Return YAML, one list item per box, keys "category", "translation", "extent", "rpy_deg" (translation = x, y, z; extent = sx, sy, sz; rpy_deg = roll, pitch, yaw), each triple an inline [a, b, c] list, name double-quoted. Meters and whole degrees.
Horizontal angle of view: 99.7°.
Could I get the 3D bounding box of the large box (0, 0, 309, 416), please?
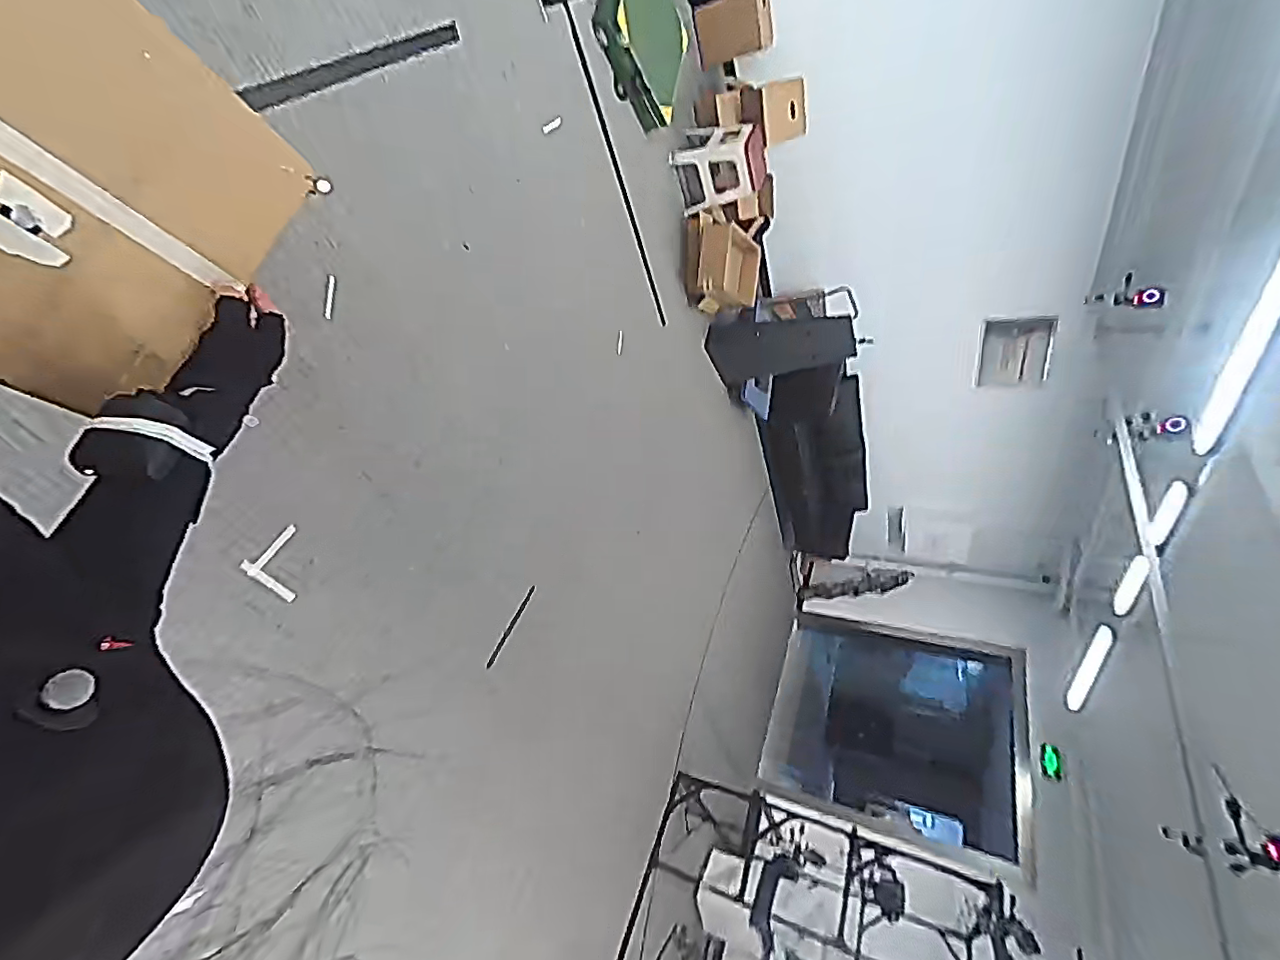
- category: "large box"
  translation: [-0.607, -0.296, 0.444]
  extent: [0.408, 0.320, 0.320]
  rpy_deg: [44, 65, -55]
